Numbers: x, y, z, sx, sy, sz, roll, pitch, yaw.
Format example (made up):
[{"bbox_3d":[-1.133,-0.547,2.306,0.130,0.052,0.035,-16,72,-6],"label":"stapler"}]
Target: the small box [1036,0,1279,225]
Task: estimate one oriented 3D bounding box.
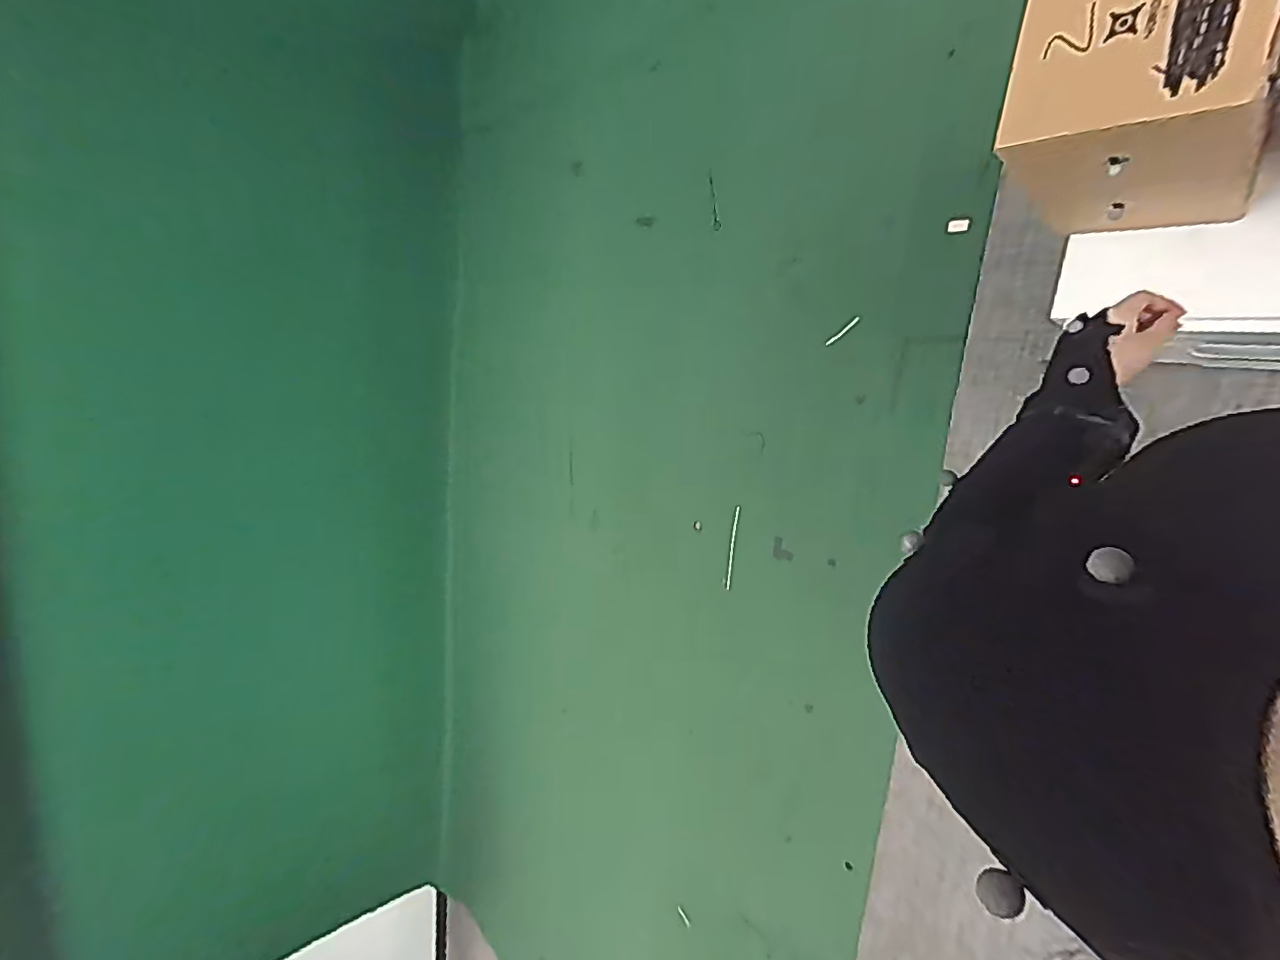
[{"bbox_3d":[0.594,-0.406,0.620,0.179,0.176,0.168,18,106,44],"label":"small box"}]
